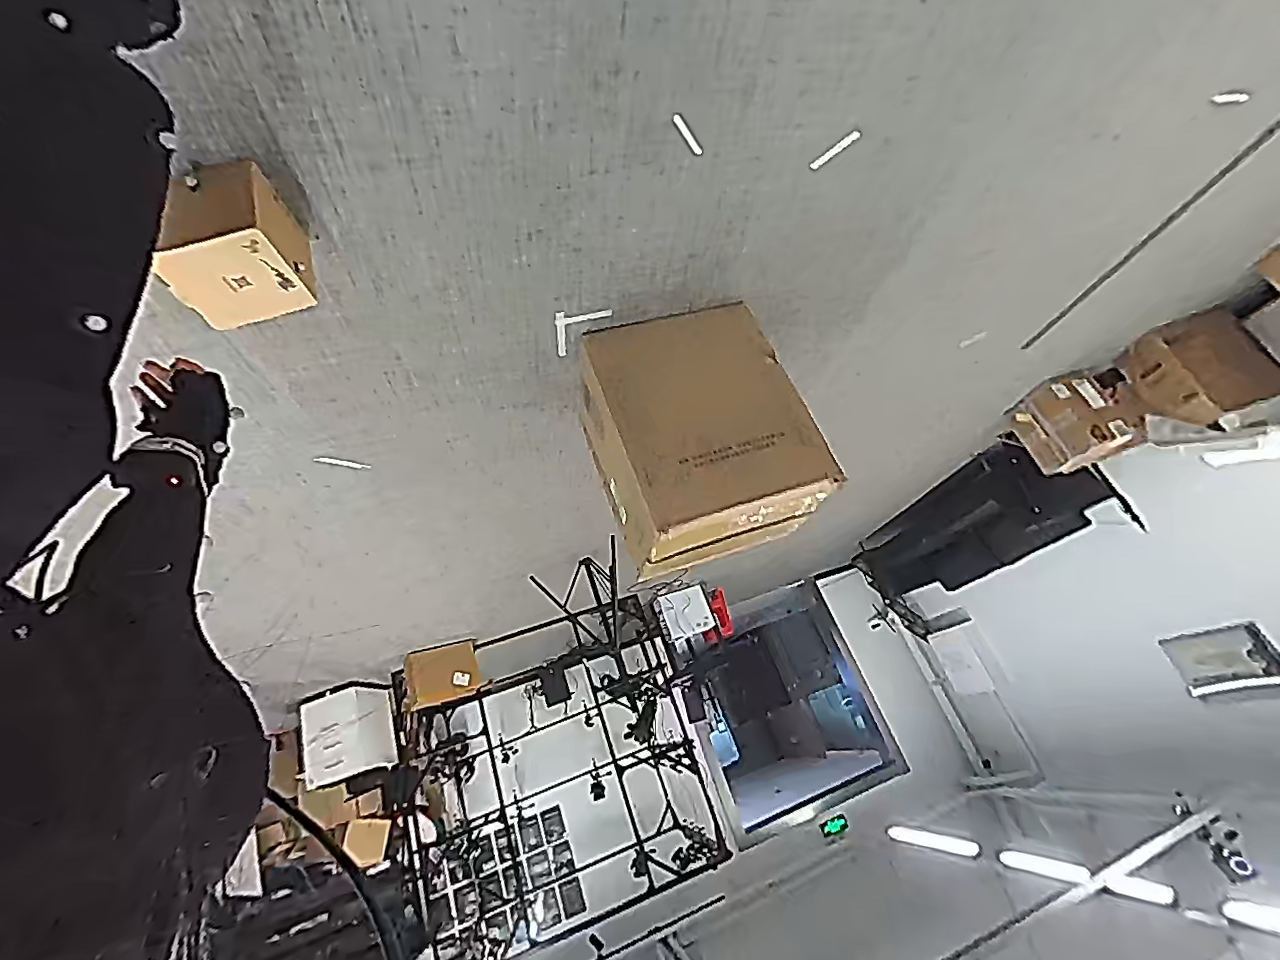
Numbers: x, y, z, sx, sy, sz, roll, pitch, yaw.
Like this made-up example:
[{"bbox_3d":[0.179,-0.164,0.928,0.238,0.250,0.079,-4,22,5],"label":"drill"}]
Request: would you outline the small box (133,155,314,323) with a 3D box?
[{"bbox_3d":[-0.671,-0.395,0.890,0.179,0.176,0.168,-17,157,-7],"label":"small box"}]
